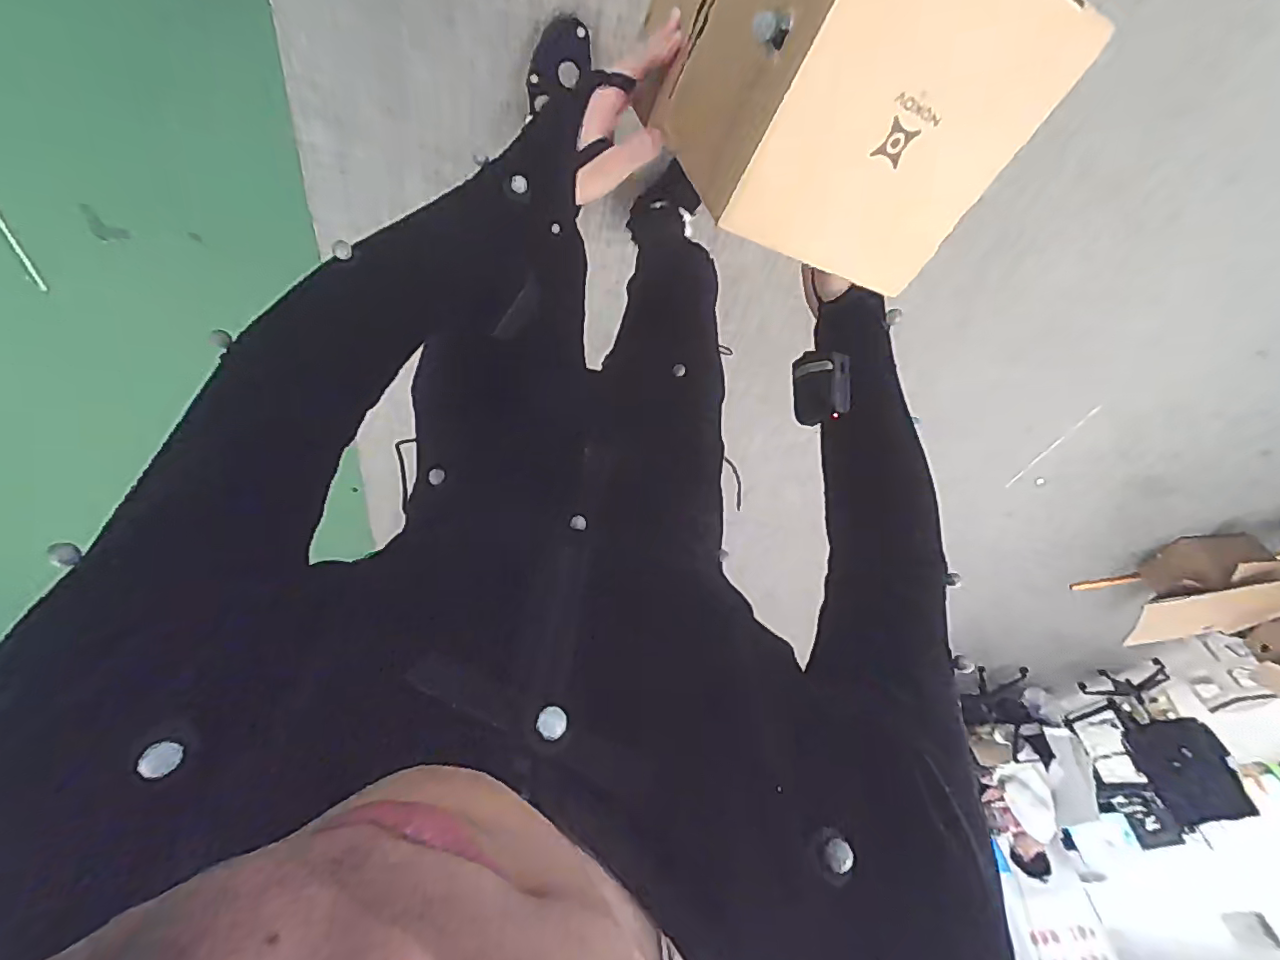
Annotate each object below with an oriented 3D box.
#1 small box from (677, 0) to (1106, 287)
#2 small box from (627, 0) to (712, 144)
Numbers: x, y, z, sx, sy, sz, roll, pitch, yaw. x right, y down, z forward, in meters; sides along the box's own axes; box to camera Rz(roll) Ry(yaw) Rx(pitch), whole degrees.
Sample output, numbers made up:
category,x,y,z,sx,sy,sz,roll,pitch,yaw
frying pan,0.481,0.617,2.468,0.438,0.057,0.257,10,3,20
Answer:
category,x,y,z,sx,sy,sz,roll,pitch,yaw
small box,0.138,-0.272,0.371,0.168,0.176,0.179,9,136,-24
small box,0.104,-0.387,0.481,0.179,0.176,0.168,9,136,-26
